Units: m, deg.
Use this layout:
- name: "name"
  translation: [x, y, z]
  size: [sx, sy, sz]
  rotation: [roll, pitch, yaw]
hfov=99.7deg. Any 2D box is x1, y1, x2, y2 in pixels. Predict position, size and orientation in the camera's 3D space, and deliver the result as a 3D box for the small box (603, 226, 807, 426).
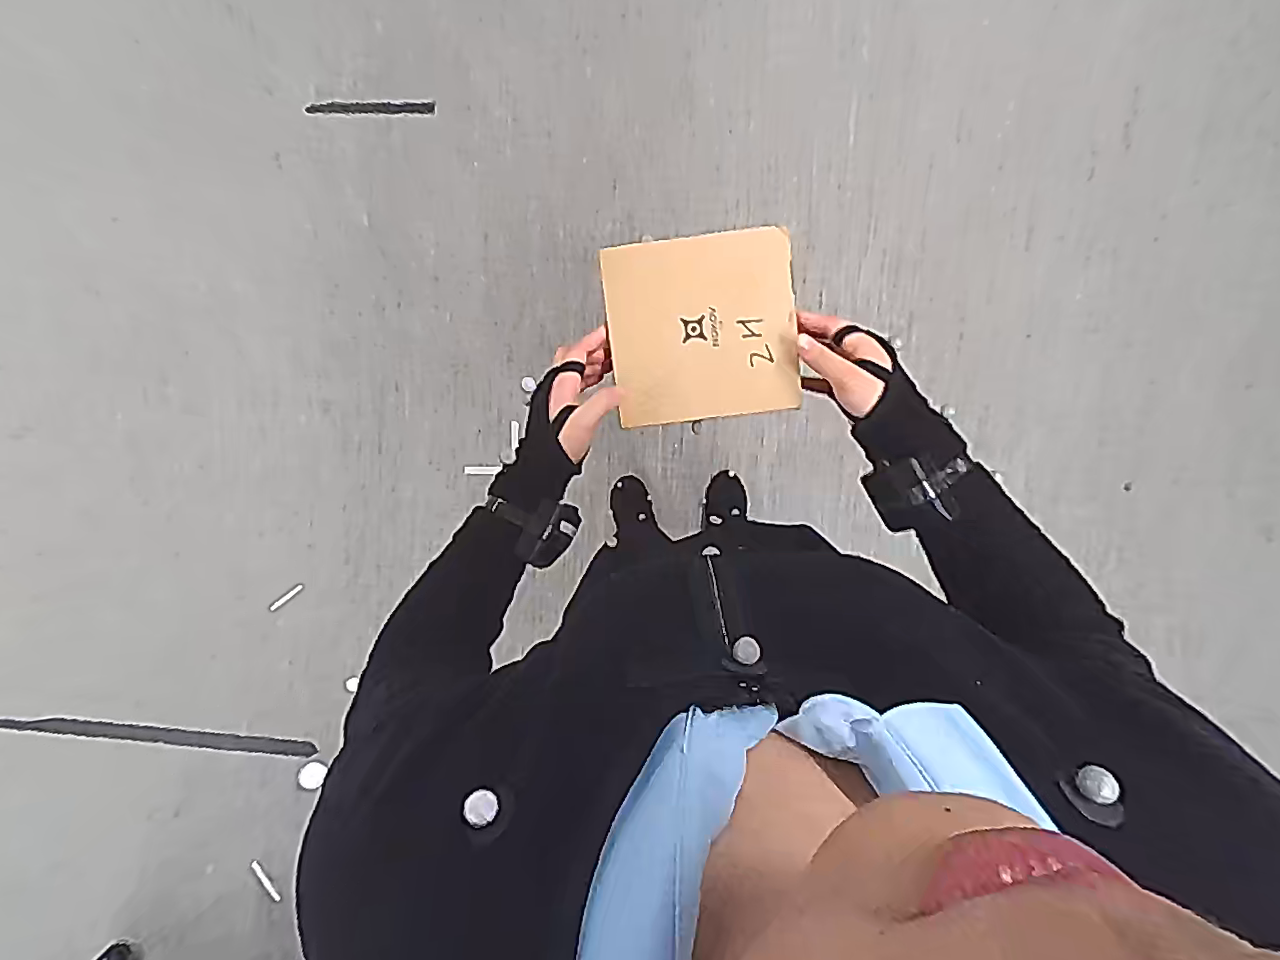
- name: "small box"
  translation: [0.061, -0.149, 0.567]
  size: [0.179, 0.176, 0.168]
  rotation: [-6, 100, 0]
